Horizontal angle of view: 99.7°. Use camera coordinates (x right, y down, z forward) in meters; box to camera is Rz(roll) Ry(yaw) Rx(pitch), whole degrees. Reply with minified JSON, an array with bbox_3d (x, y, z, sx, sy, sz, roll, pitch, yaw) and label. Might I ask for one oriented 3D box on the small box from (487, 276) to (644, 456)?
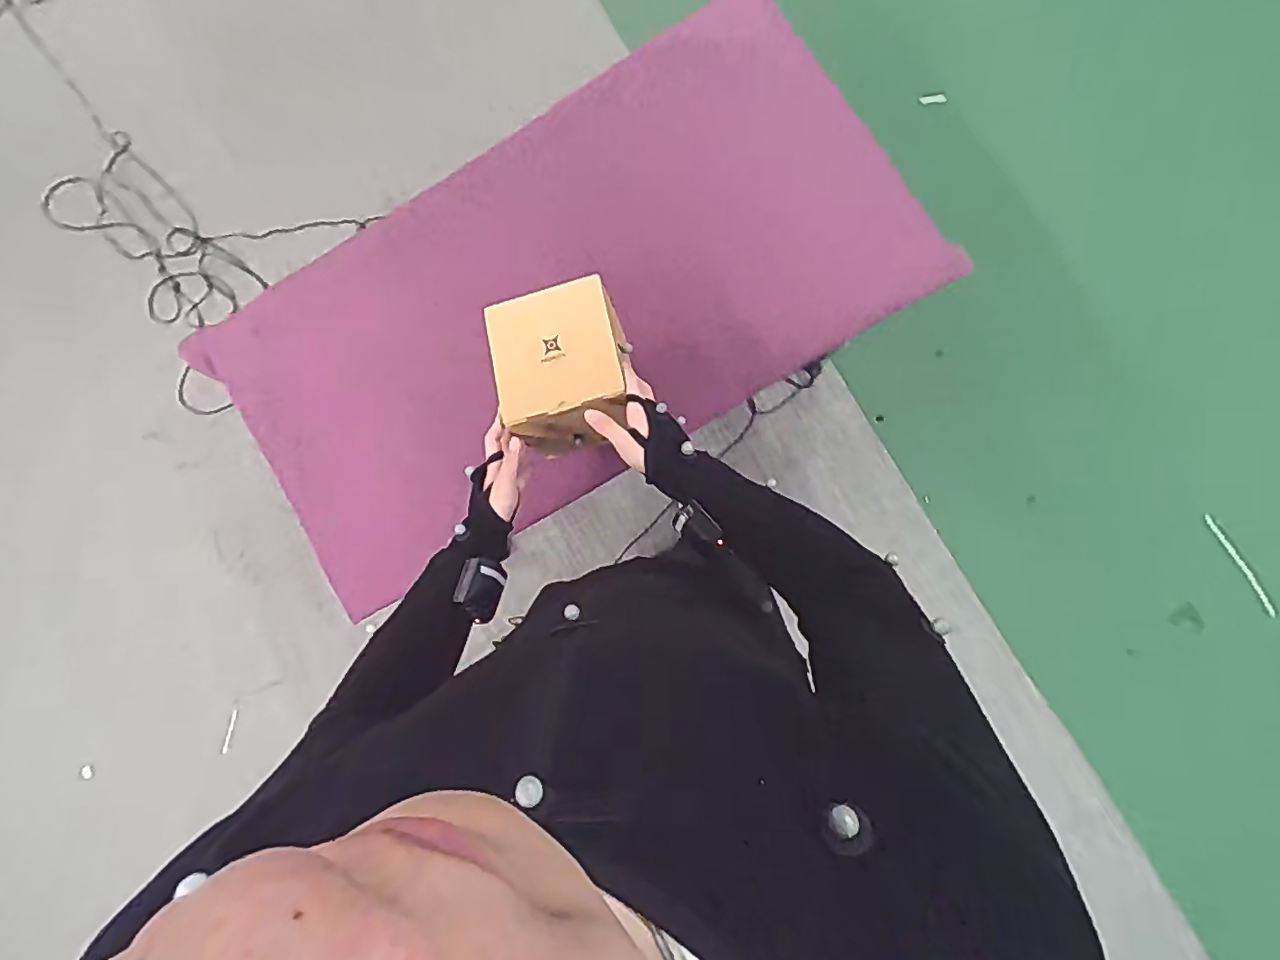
[{"bbox_3d":[-0.098,-0.151,0.768,0.168,0.176,0.179,-14,77,5],"label":"small box"}]
